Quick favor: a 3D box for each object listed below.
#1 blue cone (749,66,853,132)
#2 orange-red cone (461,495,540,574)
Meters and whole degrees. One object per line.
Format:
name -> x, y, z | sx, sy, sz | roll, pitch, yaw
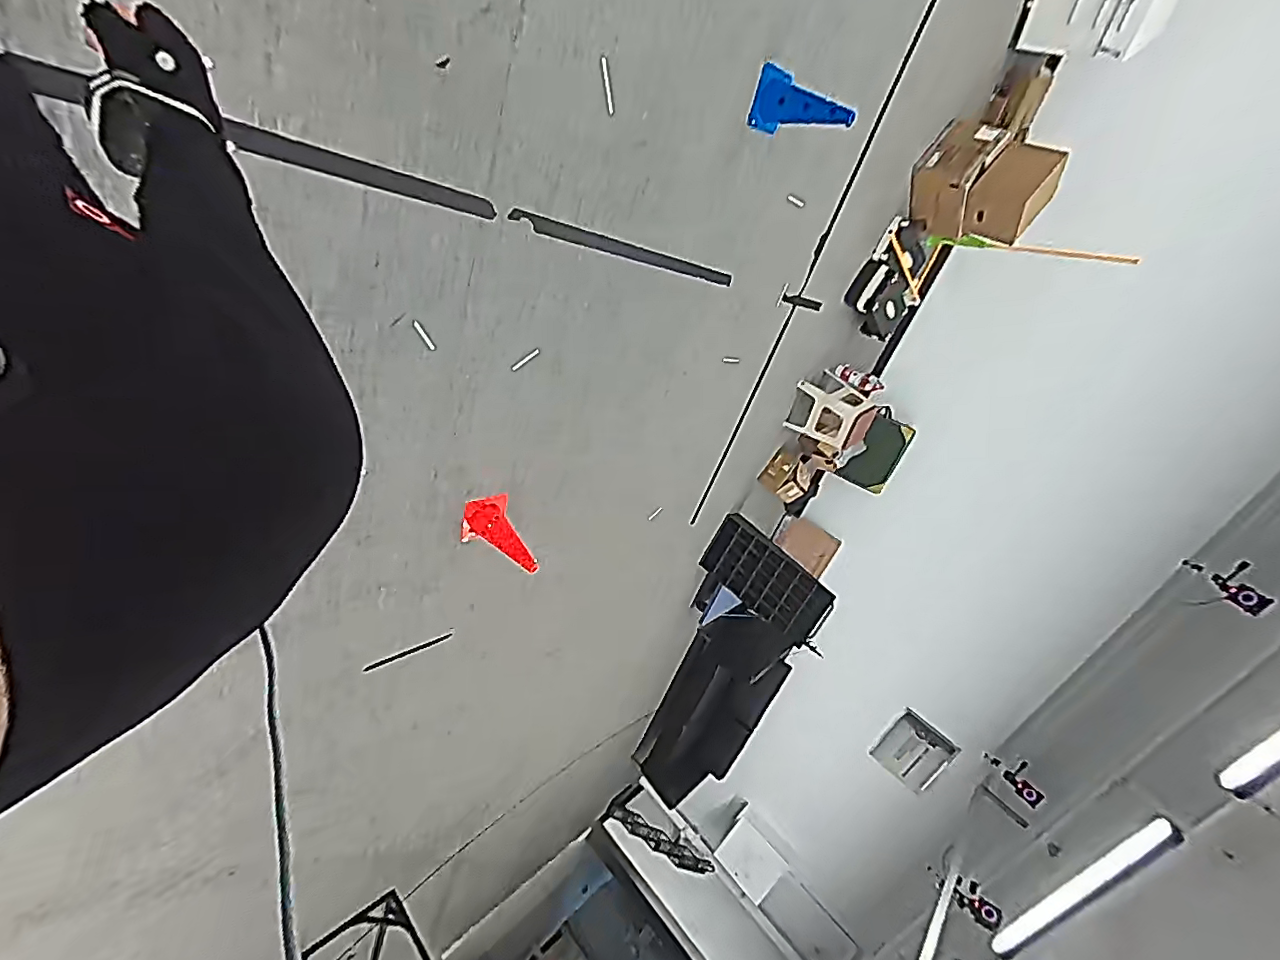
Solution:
blue cone -> 0.605, -1.352, 1.964 | 0.193, 0.380, 0.192 | -17, 136, -45
orange-red cone -> -0.514, 0.246, 2.131 | 0.199, 0.360, 0.198 | -18, 137, -46
